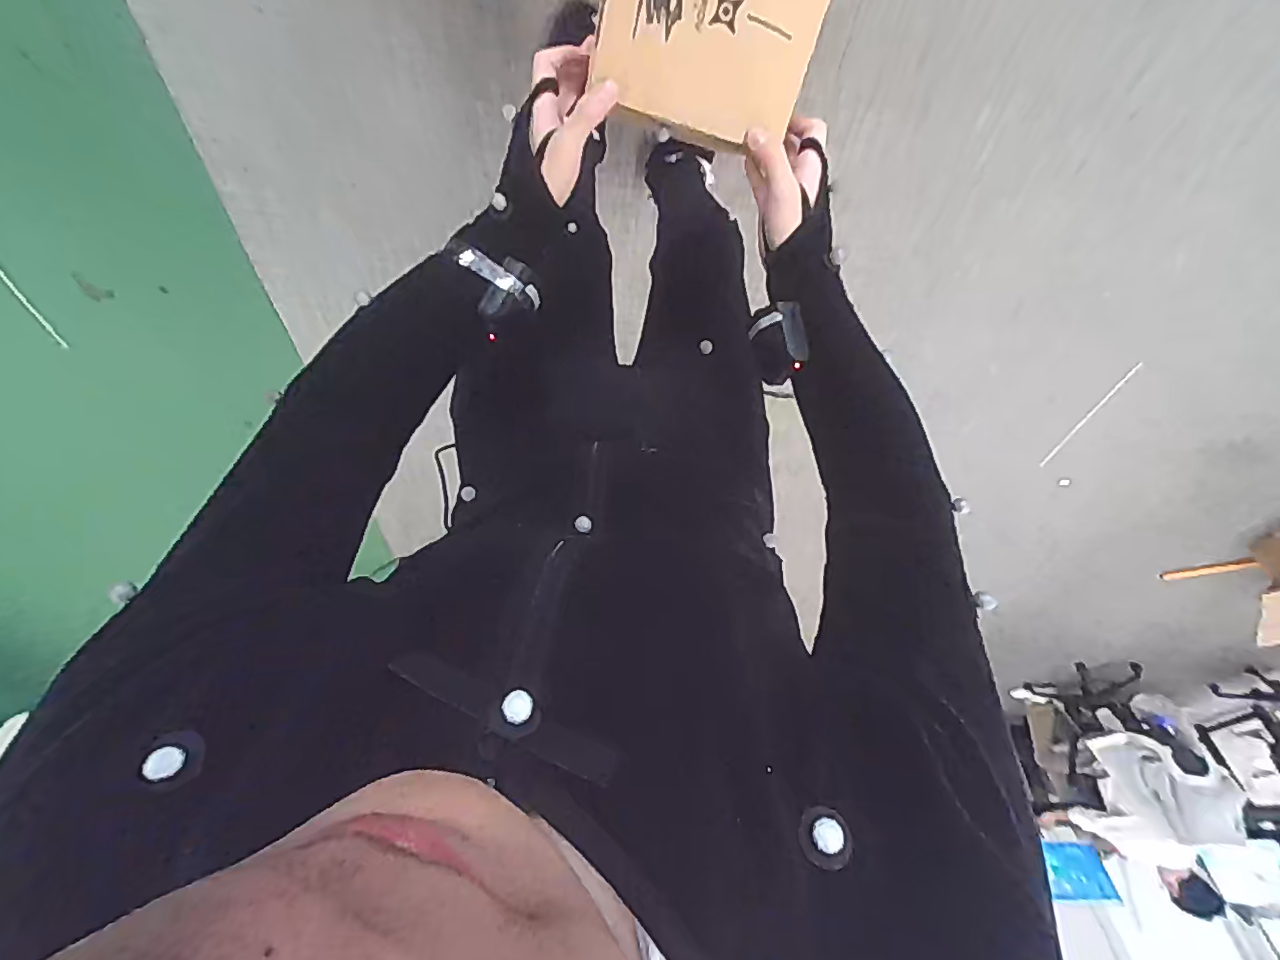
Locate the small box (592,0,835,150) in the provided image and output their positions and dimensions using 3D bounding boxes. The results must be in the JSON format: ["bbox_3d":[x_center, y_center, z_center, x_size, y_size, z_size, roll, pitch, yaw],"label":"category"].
[{"bbox_3d":[0.057,-0.412,0.489,0.179,0.176,0.168,10,119,-13],"label":"small box"}]
